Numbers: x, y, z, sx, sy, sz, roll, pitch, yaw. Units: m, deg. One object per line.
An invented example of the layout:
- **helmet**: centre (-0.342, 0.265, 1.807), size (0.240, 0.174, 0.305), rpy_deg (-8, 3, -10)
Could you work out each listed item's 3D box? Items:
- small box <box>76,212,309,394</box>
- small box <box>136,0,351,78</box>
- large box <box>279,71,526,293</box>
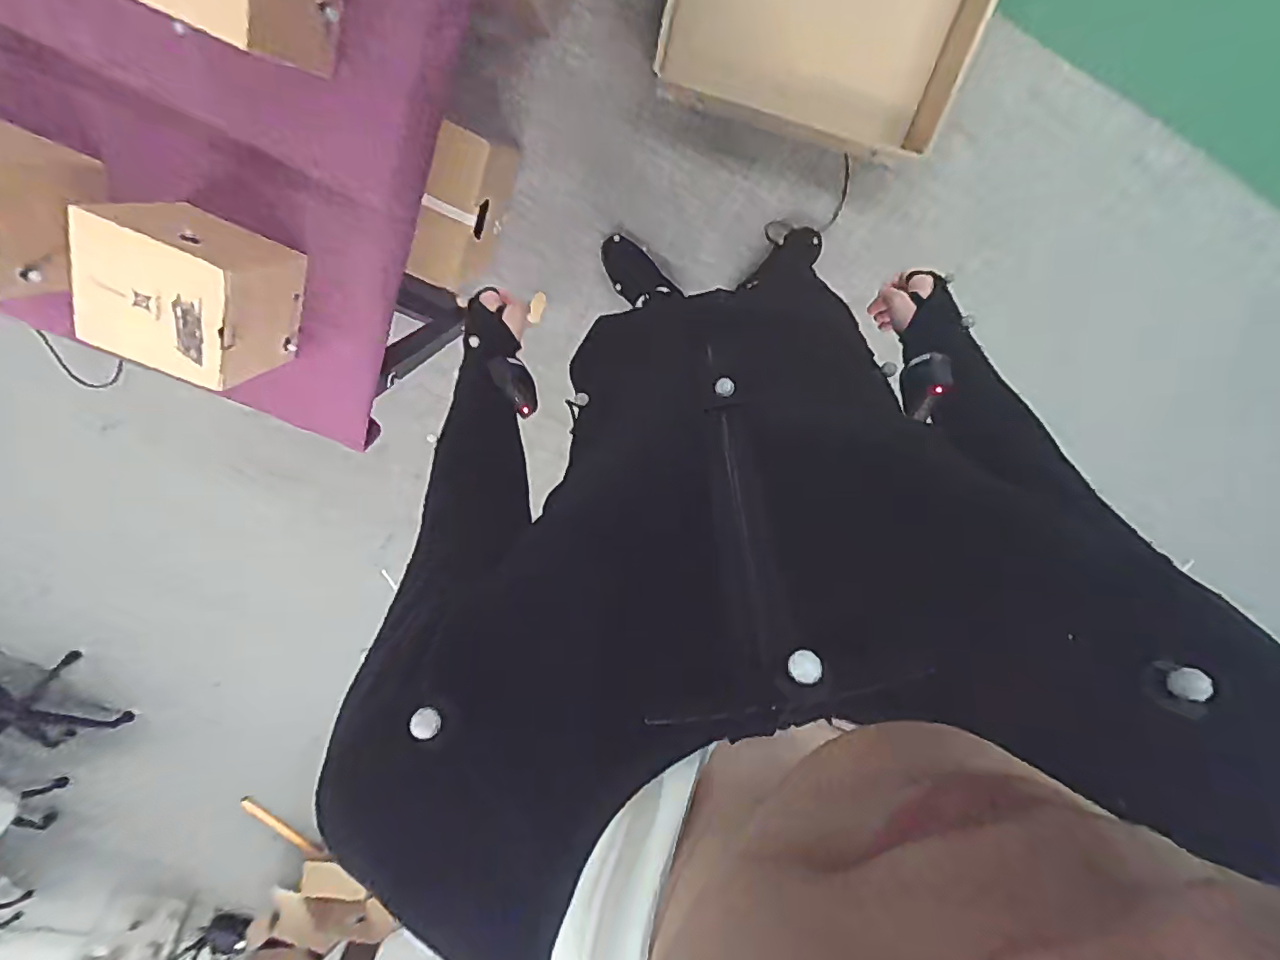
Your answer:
- **small box**: centre (-0.583, -0.244, 0.726), size (0.179, 0.176, 0.168), rpy_deg (22, 115, -8)
- **small box**: centre (-0.430, -0.555, 0.561), size (0.179, 0.176, 0.168), rpy_deg (22, 117, -9)
- **large box**: centre (-0.524, -0.675, 1.247), size (0.408, 0.320, 0.320), rpy_deg (22, 115, -8)
